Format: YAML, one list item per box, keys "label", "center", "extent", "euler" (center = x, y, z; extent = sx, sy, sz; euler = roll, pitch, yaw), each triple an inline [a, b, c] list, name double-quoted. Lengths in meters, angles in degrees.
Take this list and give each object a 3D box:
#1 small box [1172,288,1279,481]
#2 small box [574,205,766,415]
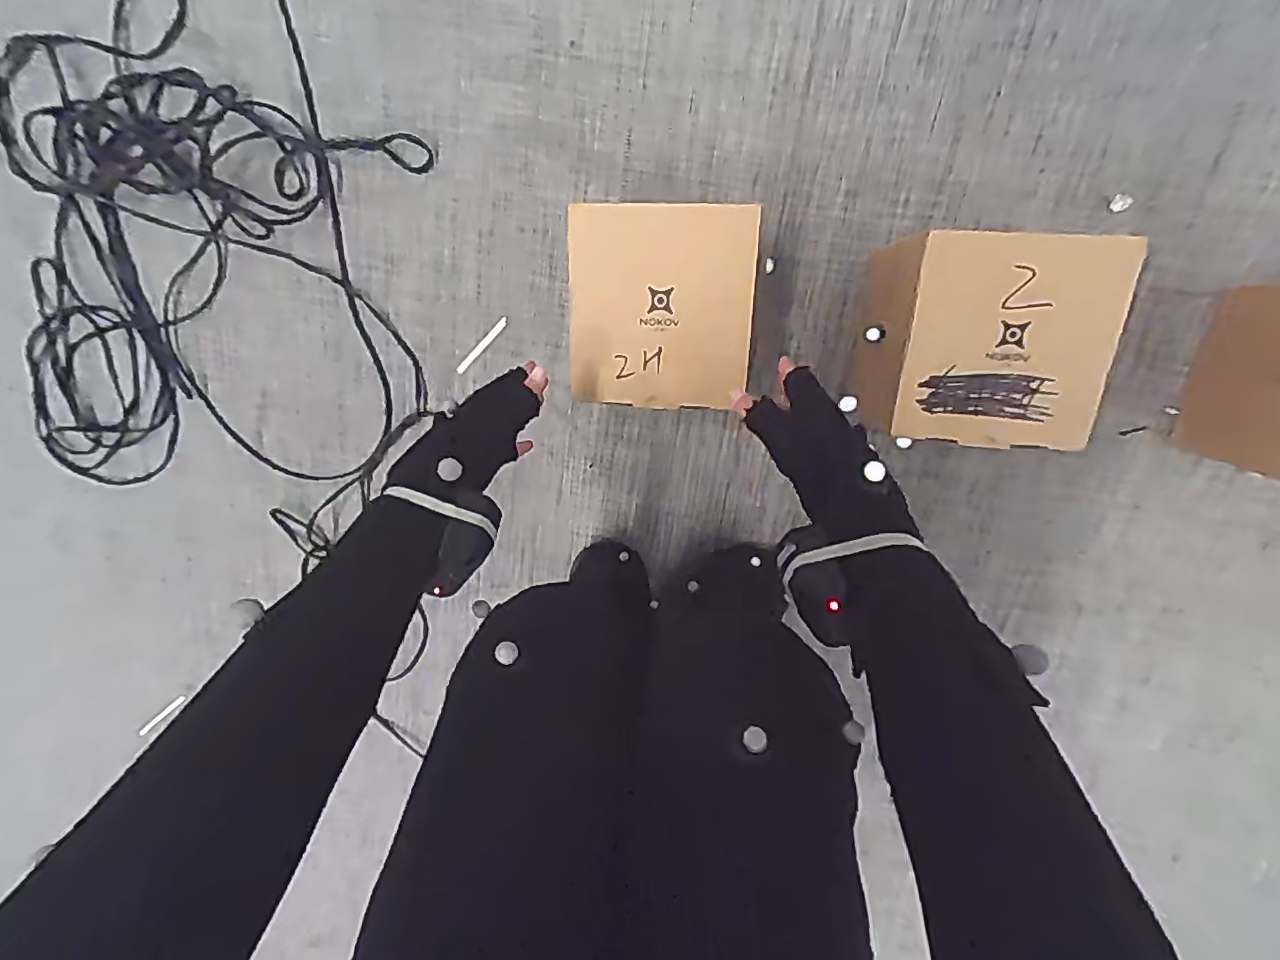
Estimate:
- label: "small box"
  center: [0.670, -0.083, 0.505]
  extent: [0.168, 0.176, 0.179]
  euler: [7, 109, 7]
- label: "small box"
  center: [0.031, -0.171, 0.558]
  extent: [0.168, 0.176, 0.179]
  euler: [4, 108, 7]
